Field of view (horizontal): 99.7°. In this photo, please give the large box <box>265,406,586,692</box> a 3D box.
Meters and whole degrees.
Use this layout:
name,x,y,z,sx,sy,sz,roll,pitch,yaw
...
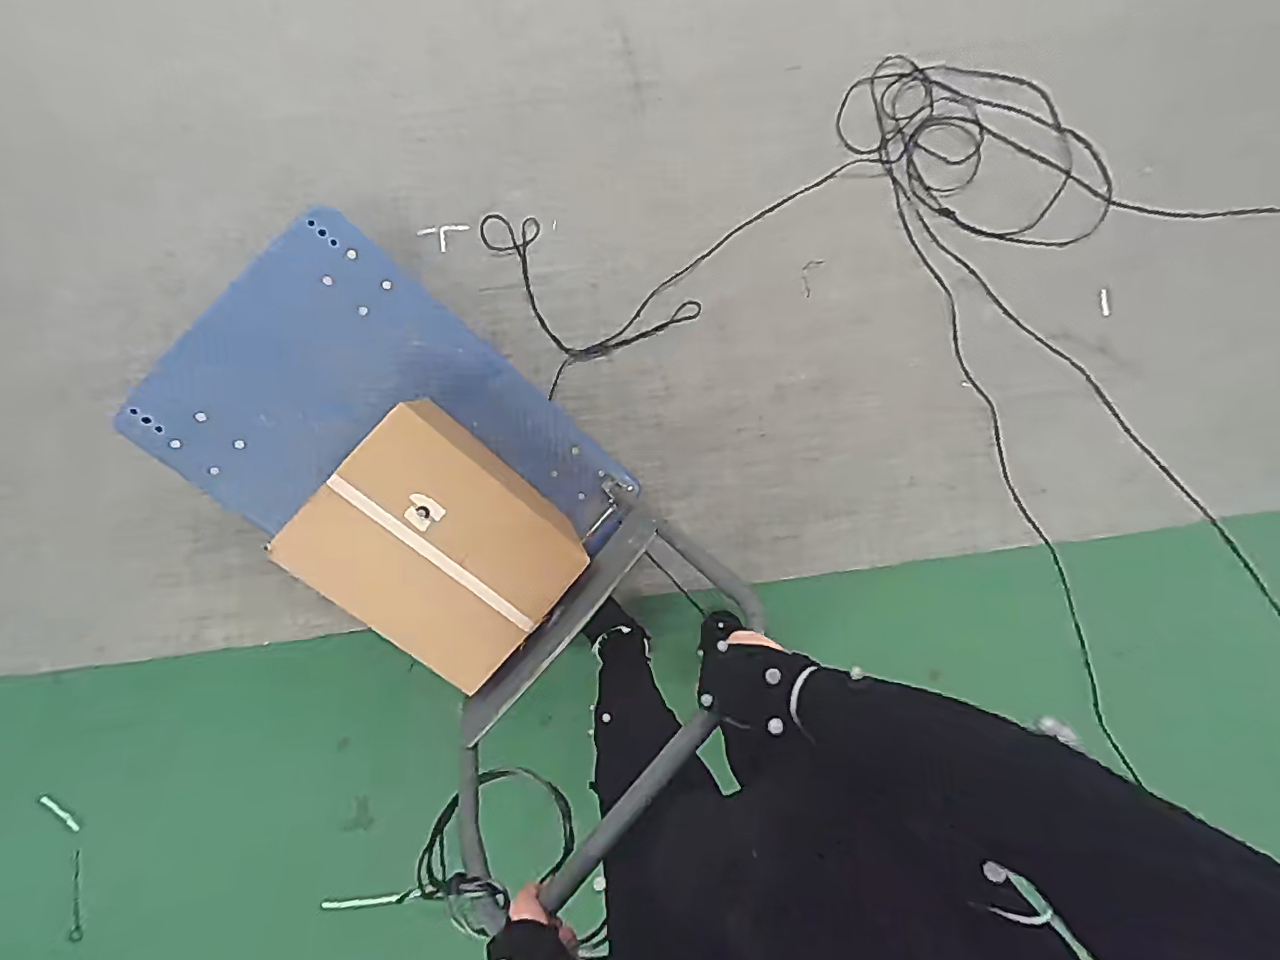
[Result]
name,x,y,z,sx,sy,sz,roll,pitch,yaw
large box,-0.363,0.106,1.023,0.408,0.320,0.320,43,87,-15
